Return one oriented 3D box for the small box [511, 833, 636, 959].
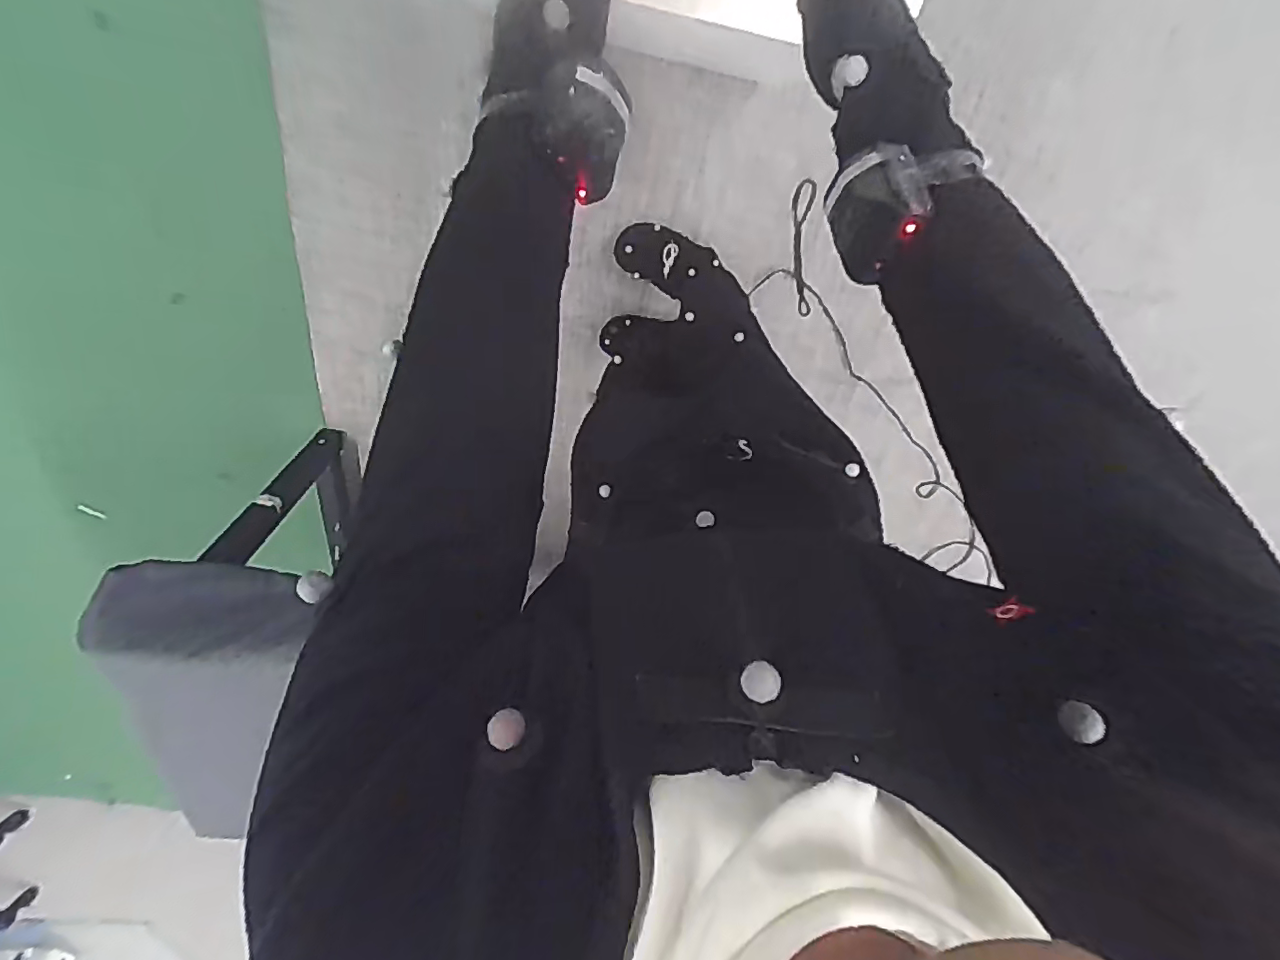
[{"bbox_3d":[-0.100,0.667,0.816,0.168,0.176,0.179,8,126,-5],"label":"small box"}]
